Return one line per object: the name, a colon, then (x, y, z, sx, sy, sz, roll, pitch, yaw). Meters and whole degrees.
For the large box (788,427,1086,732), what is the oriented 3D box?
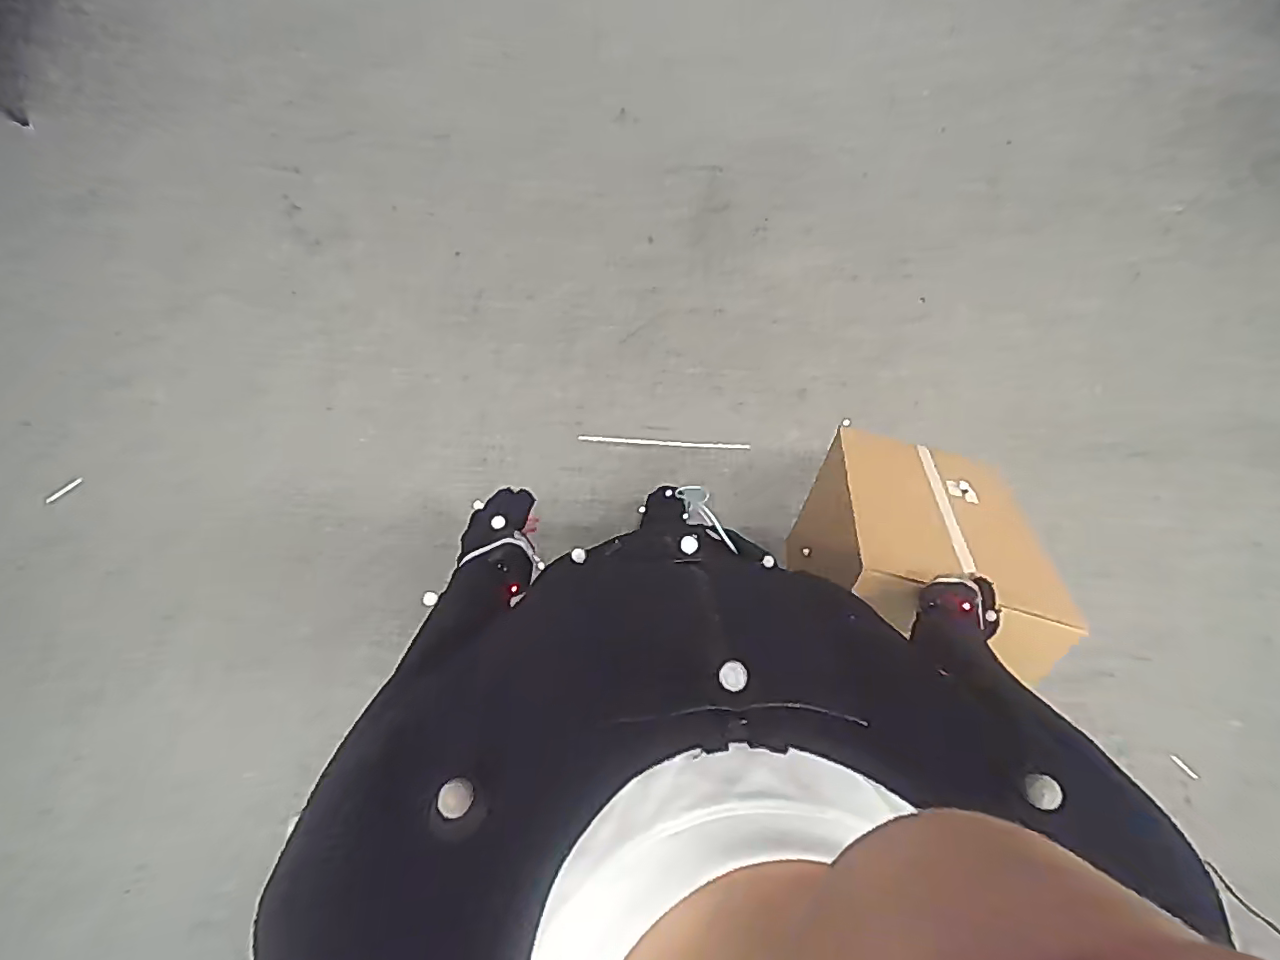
large box: (0.468, 0.163, 0.978, 0.320, 0.408, 0.320, 16, 127, 3)
